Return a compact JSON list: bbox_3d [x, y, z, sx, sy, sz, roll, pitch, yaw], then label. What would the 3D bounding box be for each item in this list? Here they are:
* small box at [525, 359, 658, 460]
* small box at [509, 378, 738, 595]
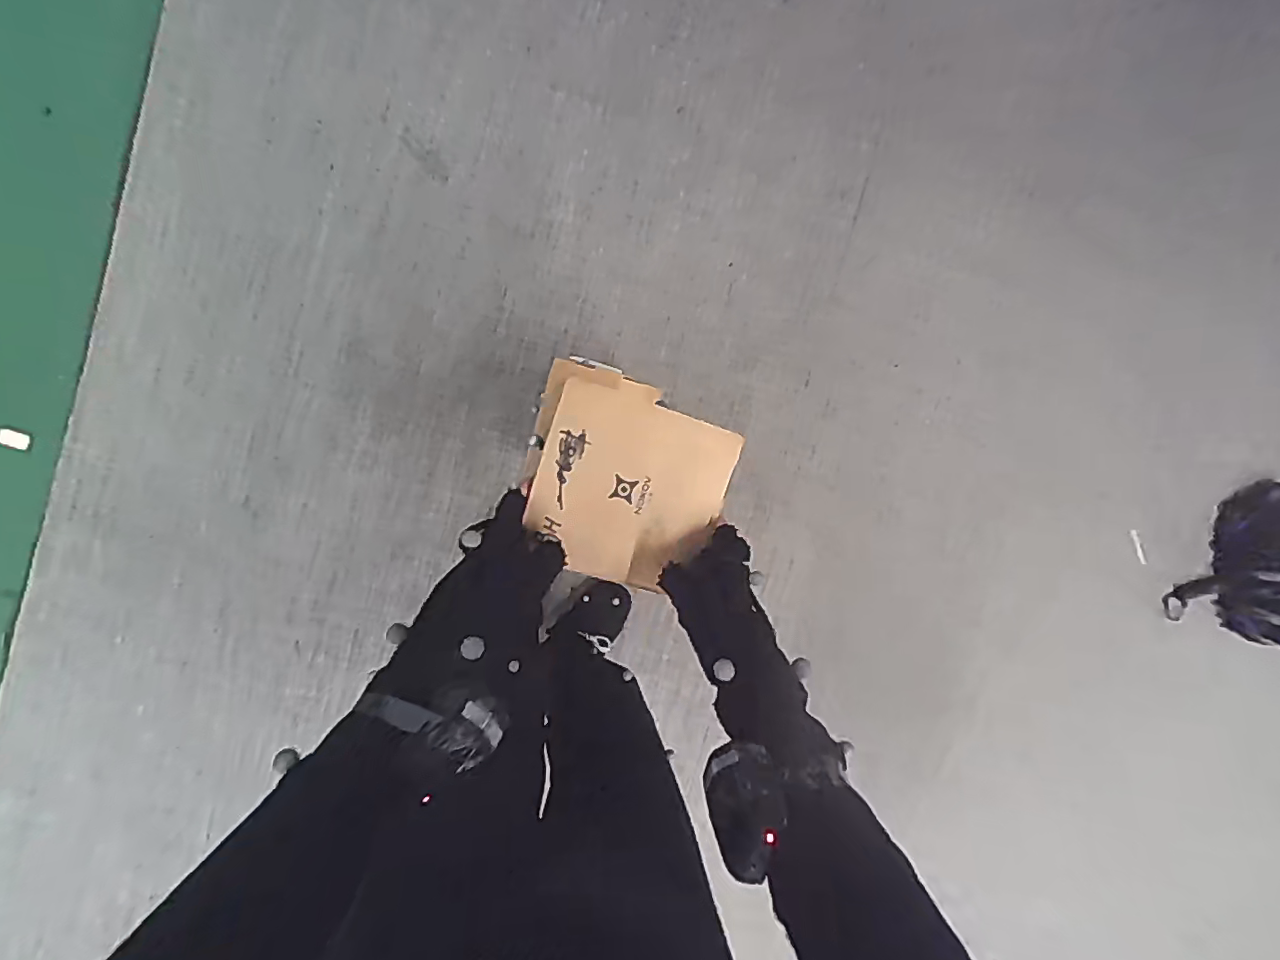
[{"bbox_3d":[-0.084,-0.080,0.877,0.168,0.176,0.179,15,94,-9],"label":"small box"},{"bbox_3d":[-0.029,0.001,0.572,0.179,0.176,0.168,18,92,-15],"label":"small box"}]
